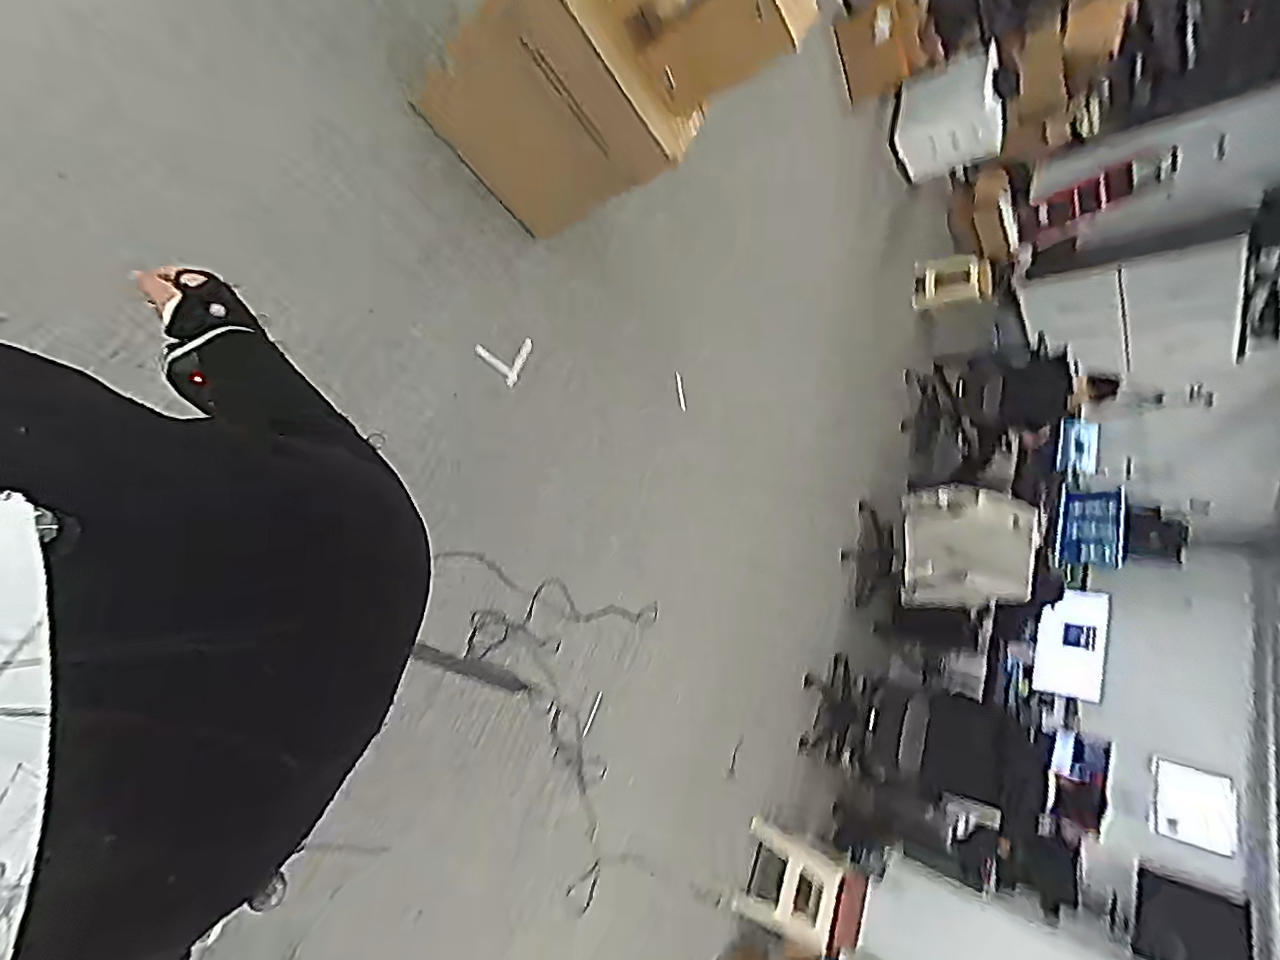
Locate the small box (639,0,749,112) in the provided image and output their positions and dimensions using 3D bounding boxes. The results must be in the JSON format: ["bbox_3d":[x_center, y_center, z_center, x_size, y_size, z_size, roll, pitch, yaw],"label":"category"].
[{"bbox_3d":[0.126,-1.030,1.278,0.168,0.176,0.179,38,66,-35],"label":"small box"}]
